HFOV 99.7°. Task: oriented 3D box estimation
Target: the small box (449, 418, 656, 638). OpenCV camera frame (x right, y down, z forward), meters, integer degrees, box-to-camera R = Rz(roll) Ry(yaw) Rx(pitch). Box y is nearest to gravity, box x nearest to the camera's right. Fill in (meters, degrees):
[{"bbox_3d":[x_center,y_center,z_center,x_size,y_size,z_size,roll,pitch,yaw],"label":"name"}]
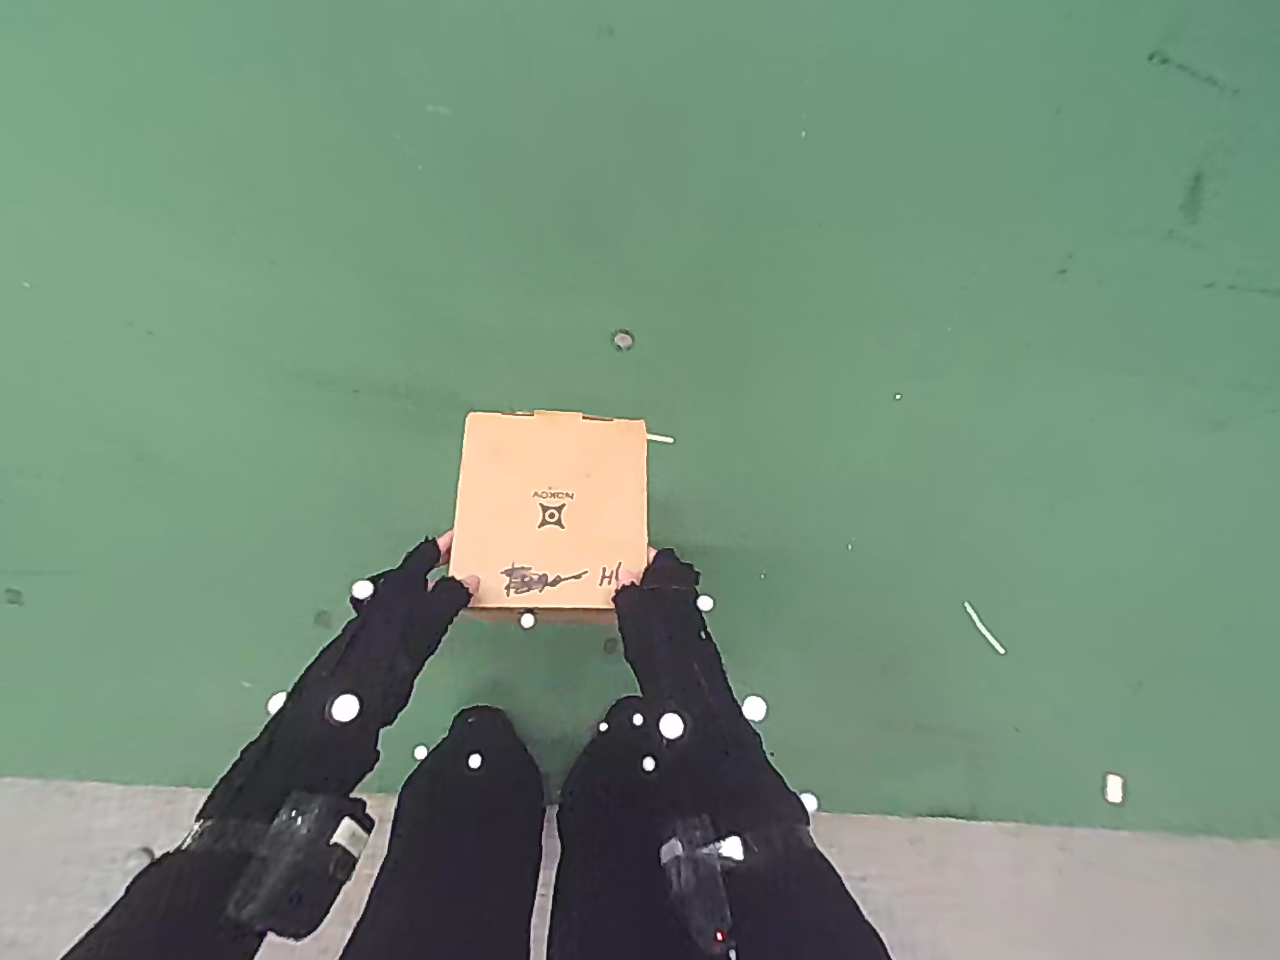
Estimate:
[{"bbox_3d":[-0.077,0.056,0.531,0.168,0.176,0.179,1,69,-6],"label":"small box"}]
